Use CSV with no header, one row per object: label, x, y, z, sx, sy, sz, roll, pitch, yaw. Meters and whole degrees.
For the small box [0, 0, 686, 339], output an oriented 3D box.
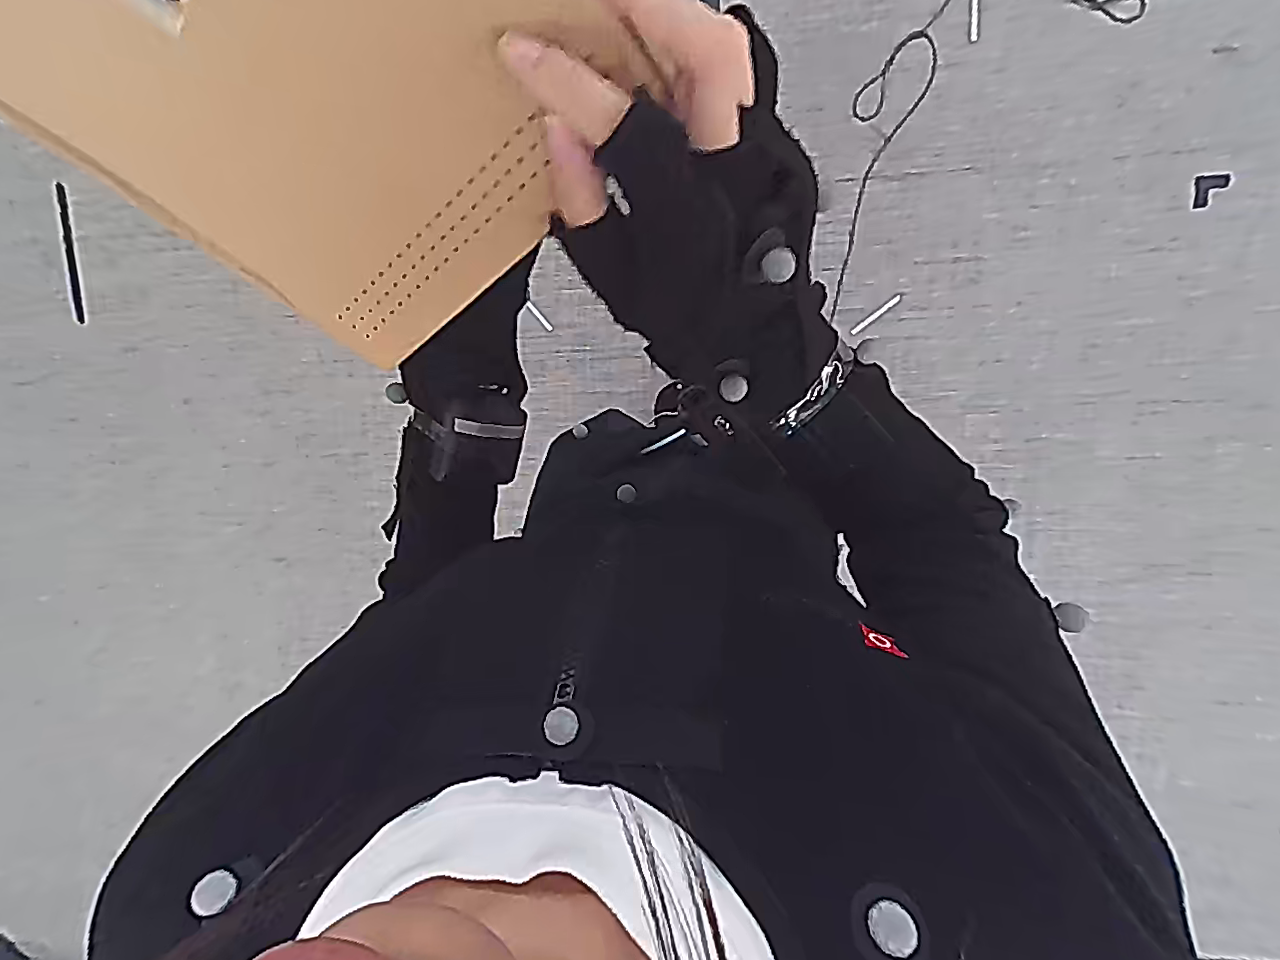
small box,-0.101,-0.197,0.237,0.179,0.168,0.176,-27,135,27
